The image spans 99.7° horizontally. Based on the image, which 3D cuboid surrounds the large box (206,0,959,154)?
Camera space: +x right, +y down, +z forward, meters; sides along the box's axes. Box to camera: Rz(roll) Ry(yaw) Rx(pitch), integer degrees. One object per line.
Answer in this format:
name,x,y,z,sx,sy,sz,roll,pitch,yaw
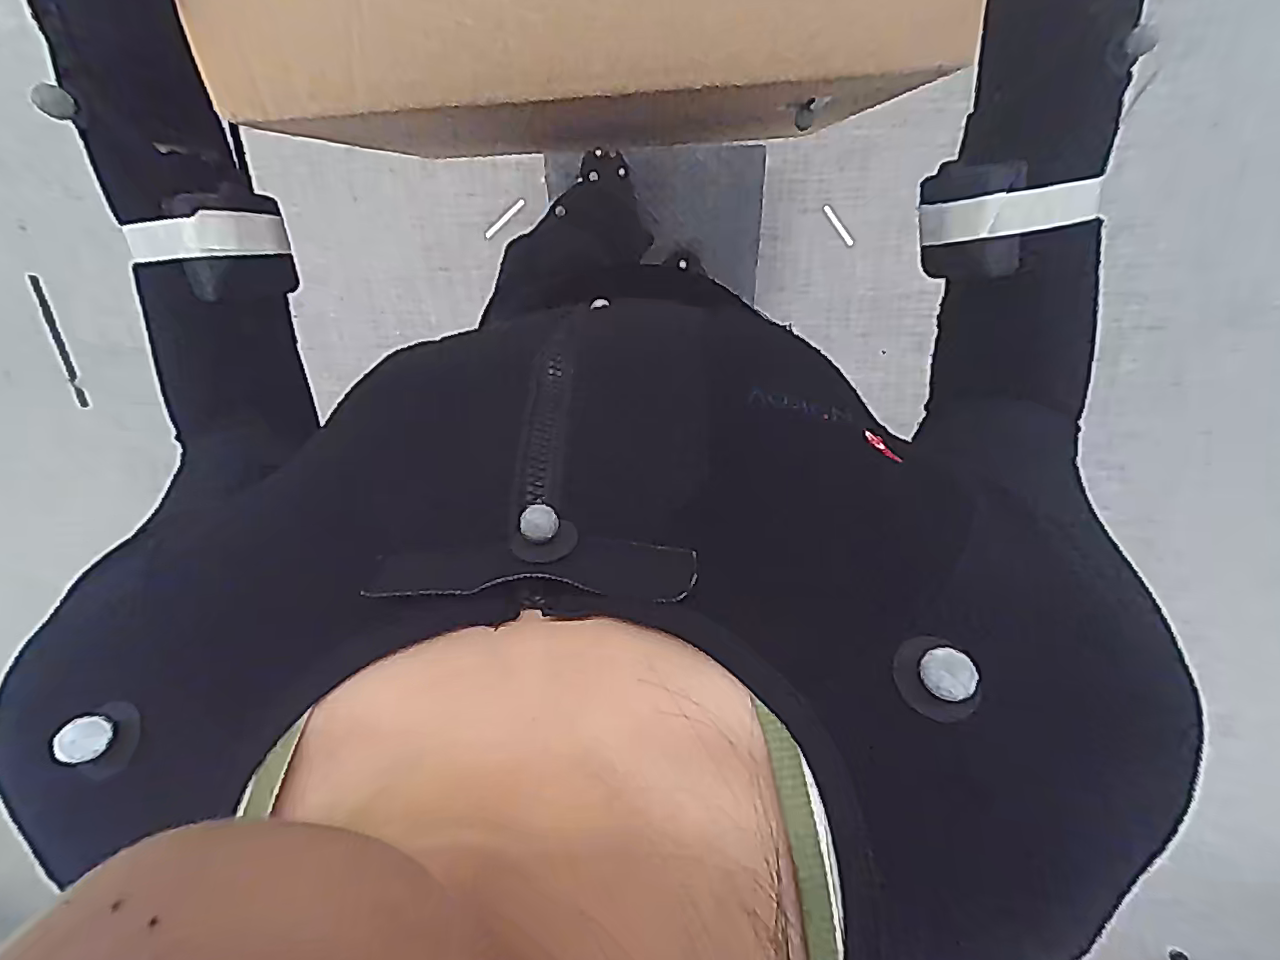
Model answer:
large box,-0.035,-0.420,0.364,0.408,0.320,0.320,-2,117,3
